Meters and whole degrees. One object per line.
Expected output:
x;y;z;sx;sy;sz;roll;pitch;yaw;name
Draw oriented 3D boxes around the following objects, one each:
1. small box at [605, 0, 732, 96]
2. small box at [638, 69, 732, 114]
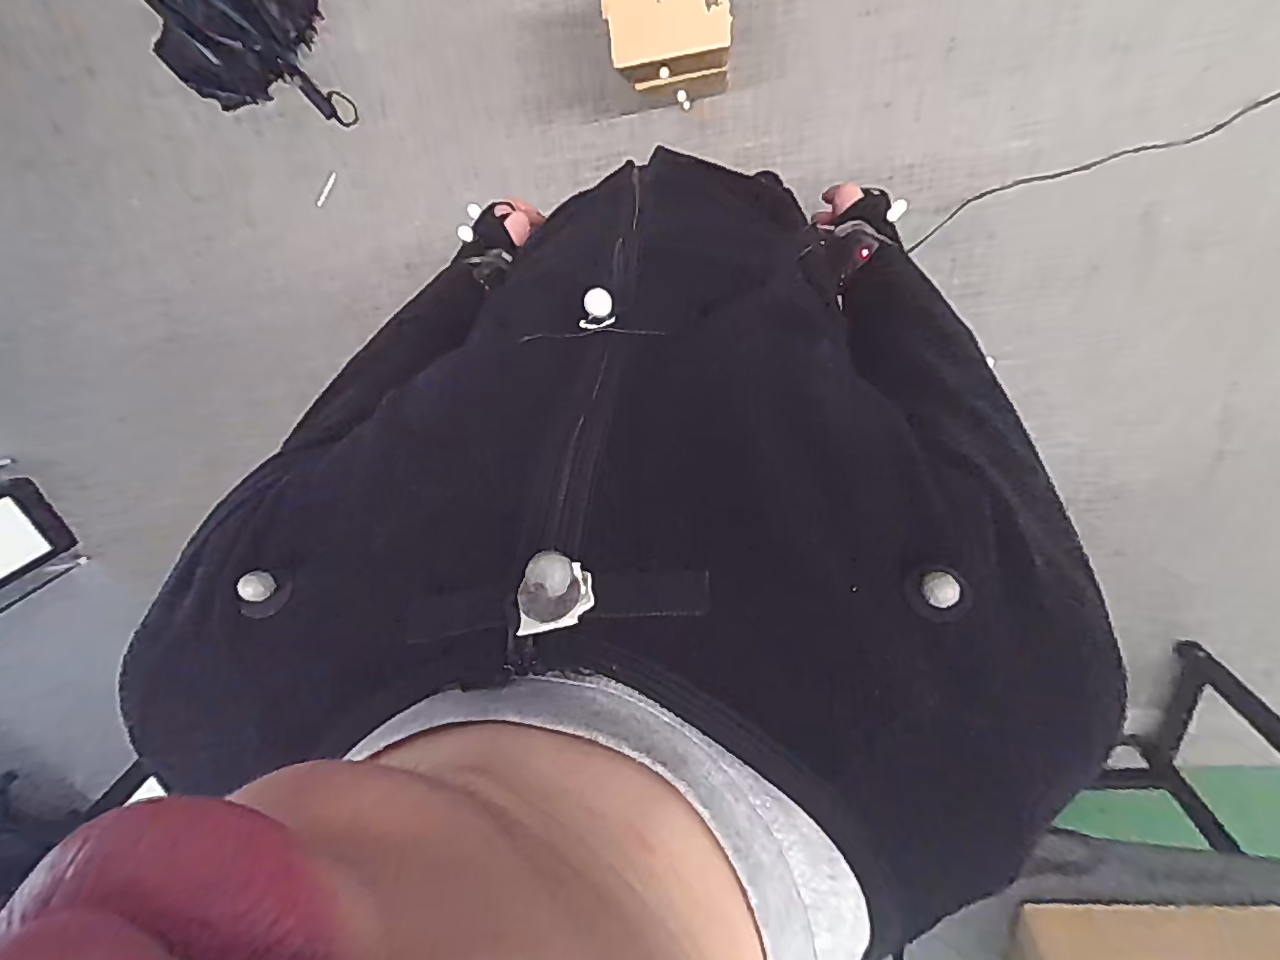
0.048;-0.711;0.829;0.179;0.176;0.168;-4;118;11;small box
0.072;-0.786;0.973;0.168;0.176;0.179;-6;117;11;small box
